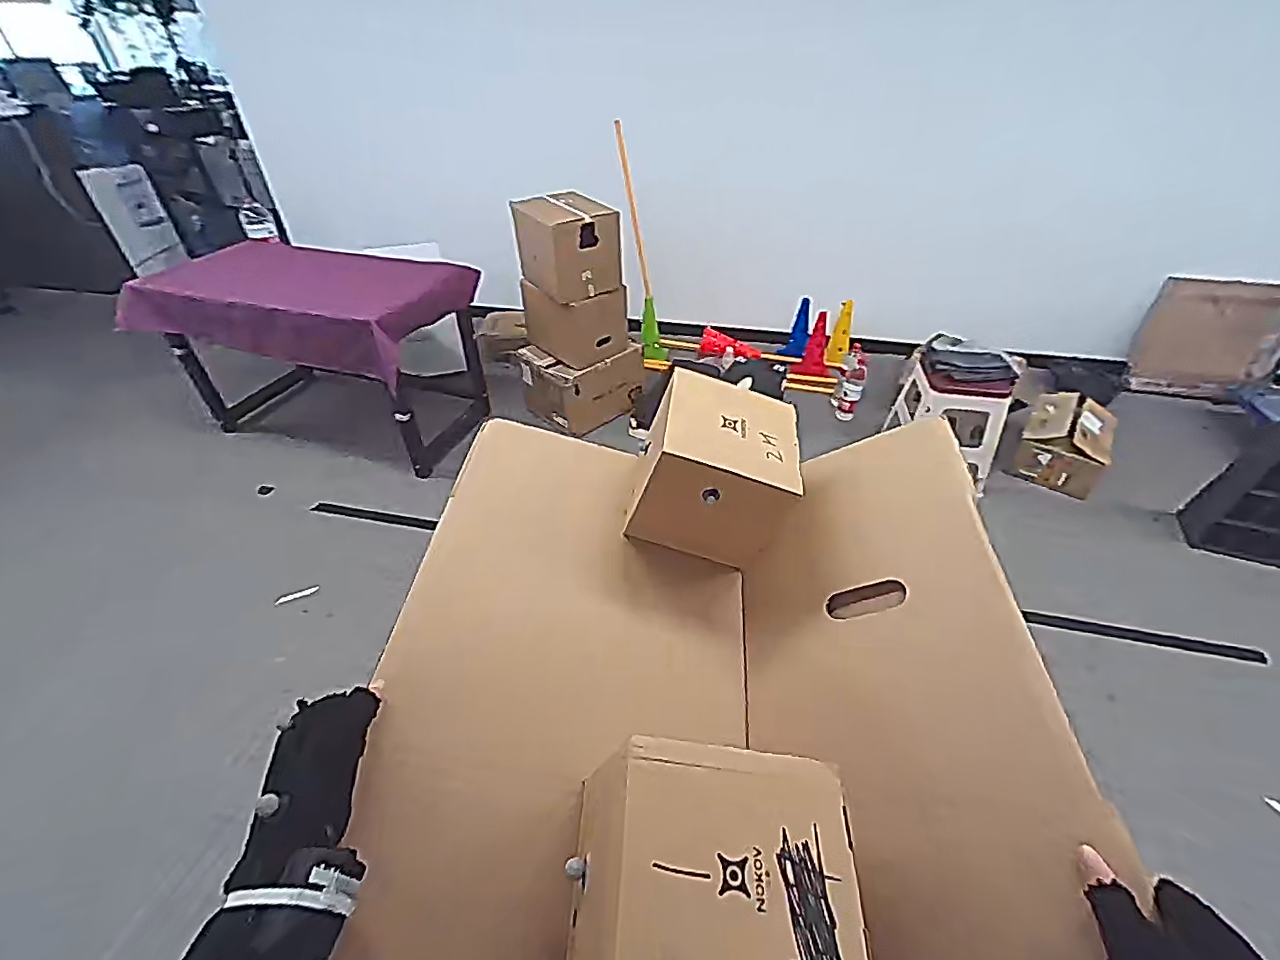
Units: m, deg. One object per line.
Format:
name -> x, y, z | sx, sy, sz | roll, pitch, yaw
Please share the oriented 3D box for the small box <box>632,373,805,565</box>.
small box -> 0.101, -0.009, 0.729 | 0.179, 0.176, 0.168 | 19, 47, -6
